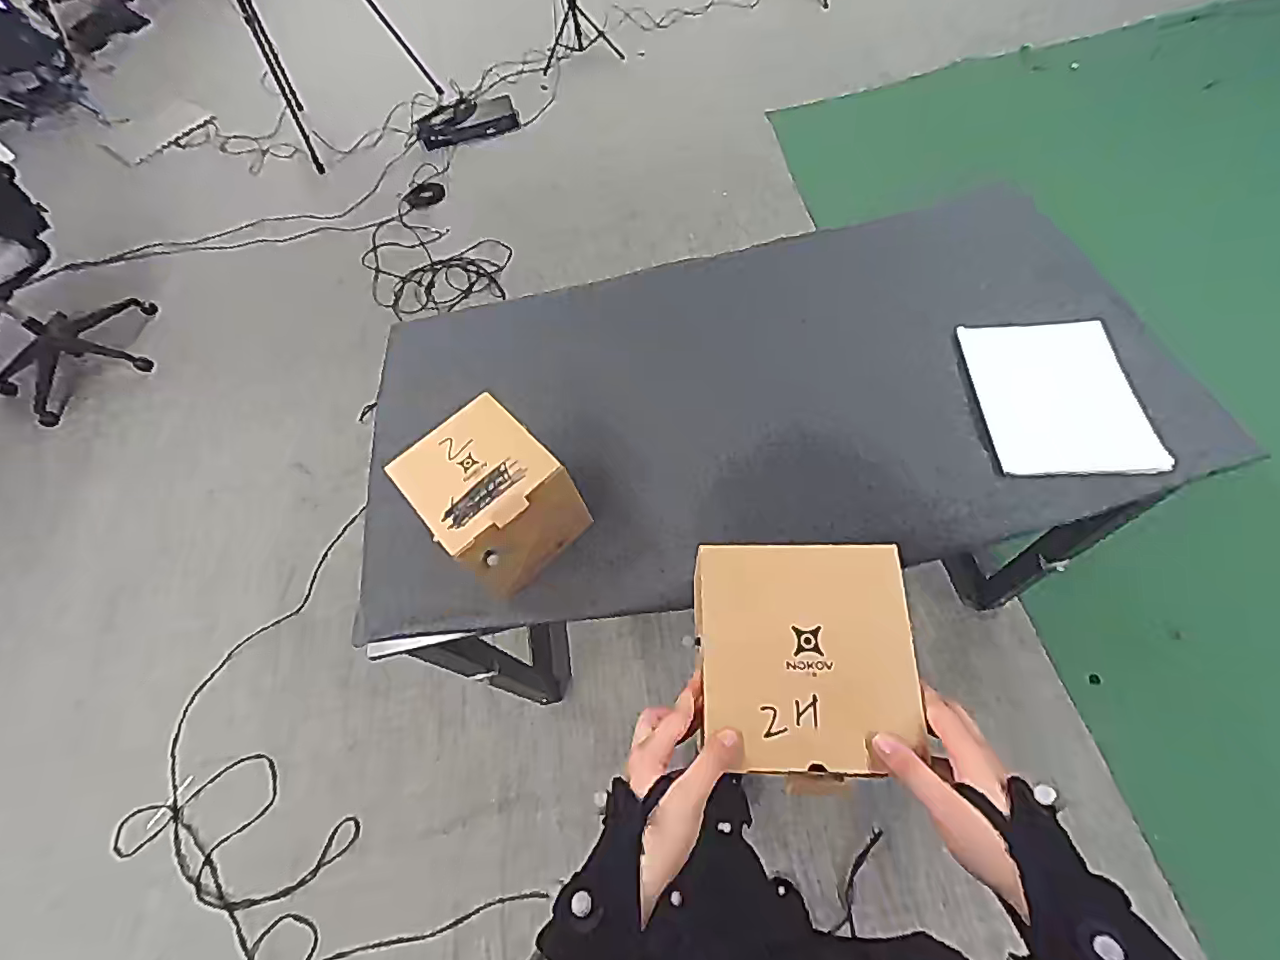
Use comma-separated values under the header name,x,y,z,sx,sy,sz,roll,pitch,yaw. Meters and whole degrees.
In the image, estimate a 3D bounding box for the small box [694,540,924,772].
name,x,y,z,sx,sy,sz,roll,pitch,yaw
small box,0.135,0.162,0.505,0.168,0.176,0.179,-1,69,5
